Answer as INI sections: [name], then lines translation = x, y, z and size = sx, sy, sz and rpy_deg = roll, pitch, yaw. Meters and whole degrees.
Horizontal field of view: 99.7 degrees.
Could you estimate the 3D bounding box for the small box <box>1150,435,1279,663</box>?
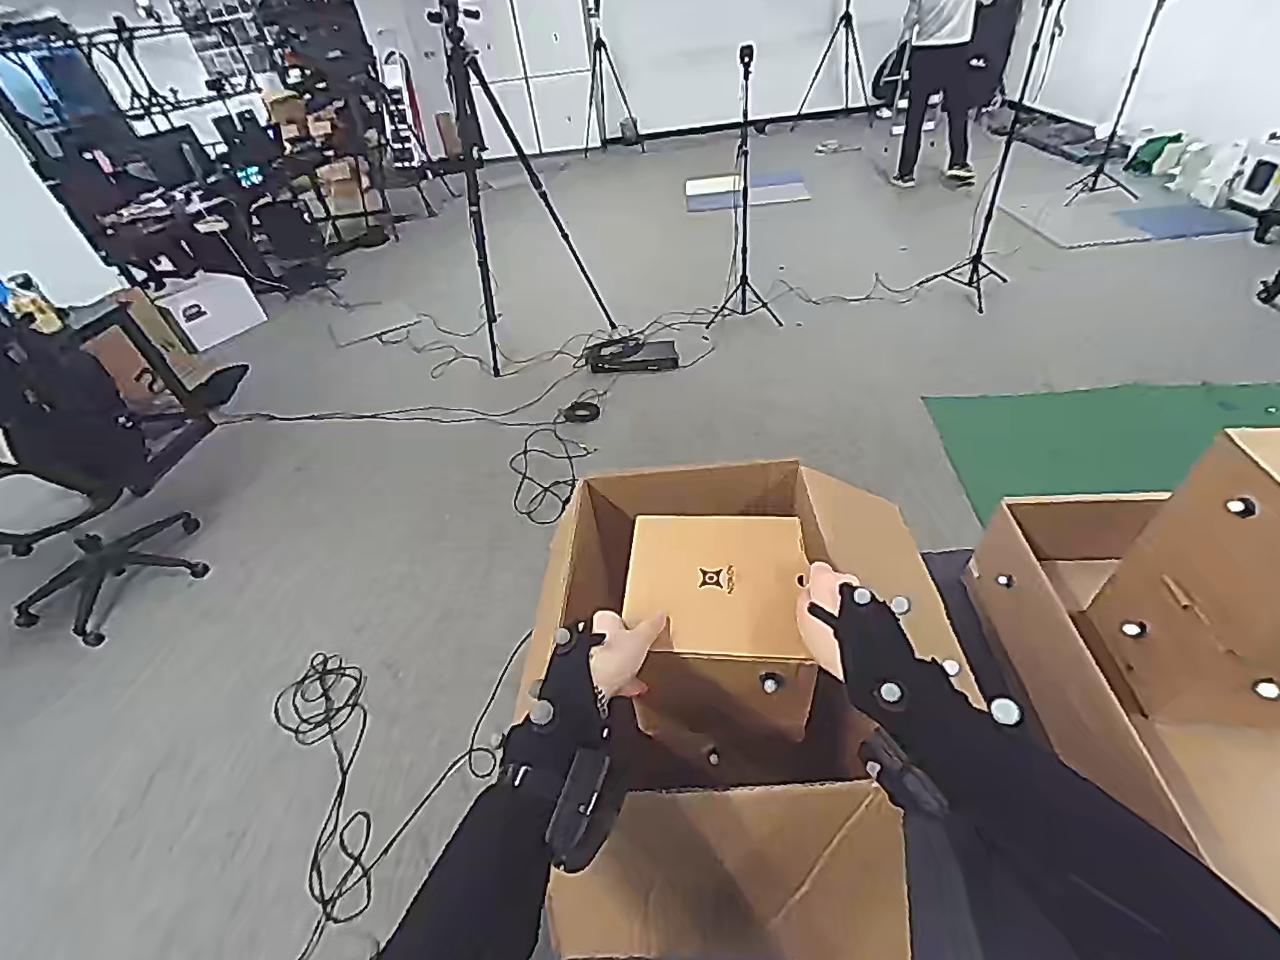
[small box]
translation = 0.695, 0.070, 0.555
size = 0.168, 0.176, 0.179
rpy_deg = -1, 43, 9
